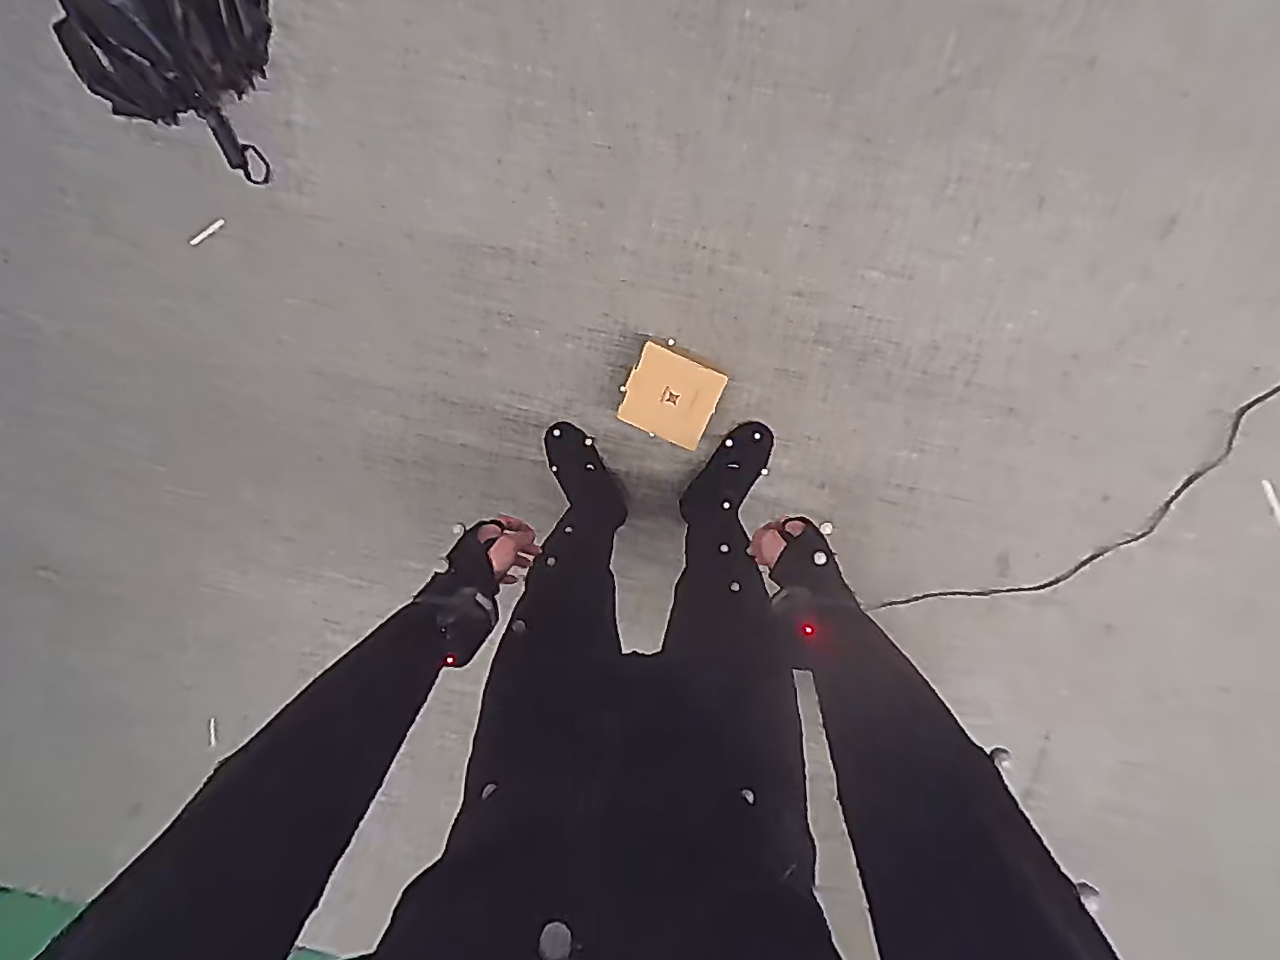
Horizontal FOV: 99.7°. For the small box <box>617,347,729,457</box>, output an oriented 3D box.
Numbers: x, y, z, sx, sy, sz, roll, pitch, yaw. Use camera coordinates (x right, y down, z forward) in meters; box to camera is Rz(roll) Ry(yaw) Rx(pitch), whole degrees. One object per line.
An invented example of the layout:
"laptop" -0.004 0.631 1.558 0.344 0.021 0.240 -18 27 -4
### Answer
"small box" 0.069 -0.174 1.147 0.179 0.176 0.168 23 109 -4
